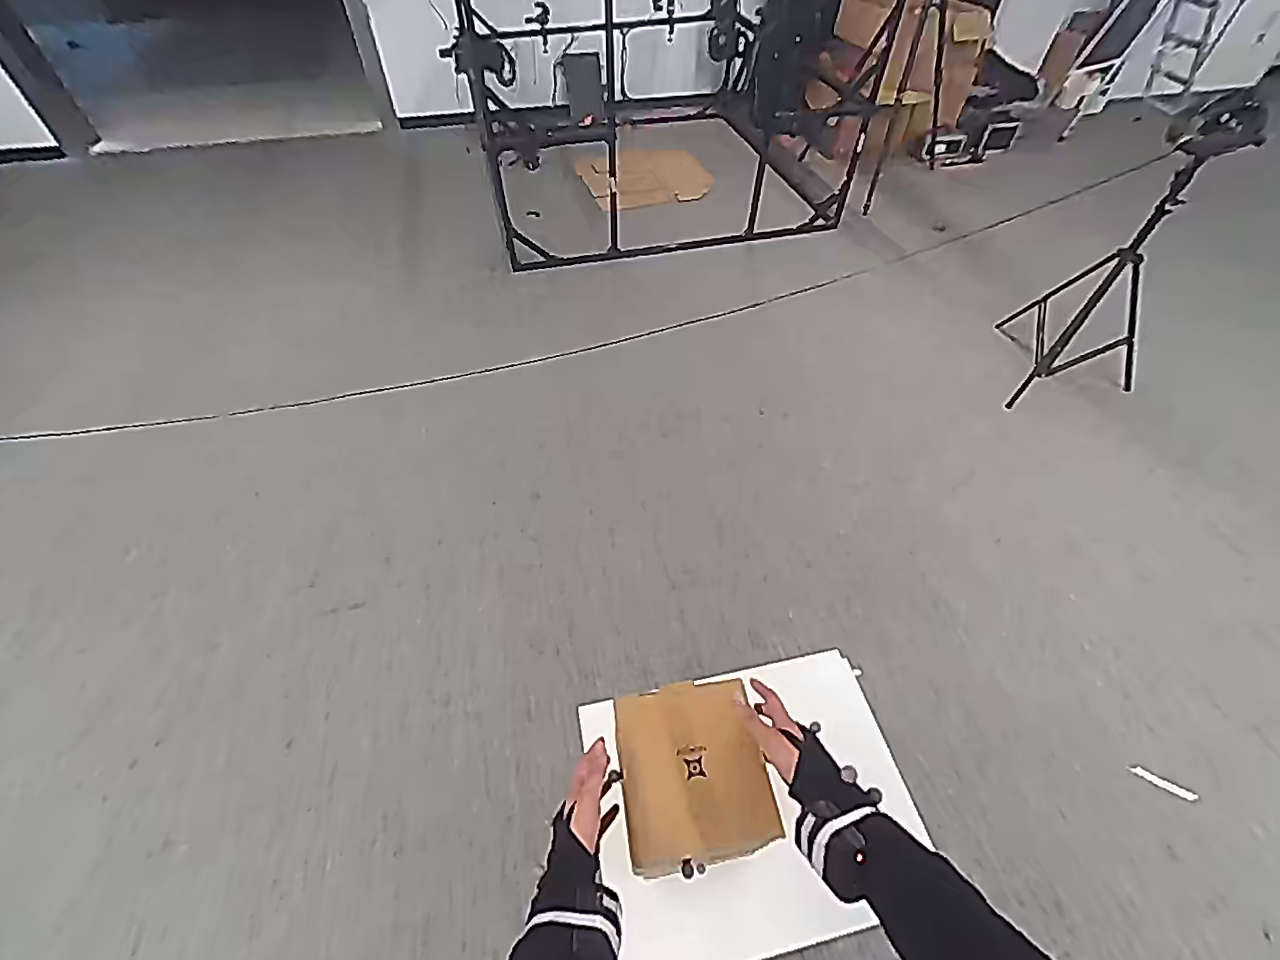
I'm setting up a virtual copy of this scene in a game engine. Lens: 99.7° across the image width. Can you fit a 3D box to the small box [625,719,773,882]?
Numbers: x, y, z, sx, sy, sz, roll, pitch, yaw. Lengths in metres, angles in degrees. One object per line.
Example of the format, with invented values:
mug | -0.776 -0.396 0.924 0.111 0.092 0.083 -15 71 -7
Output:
small box | 0.077 0.482 0.809 0.179 0.176 0.168 -8 51 -8
